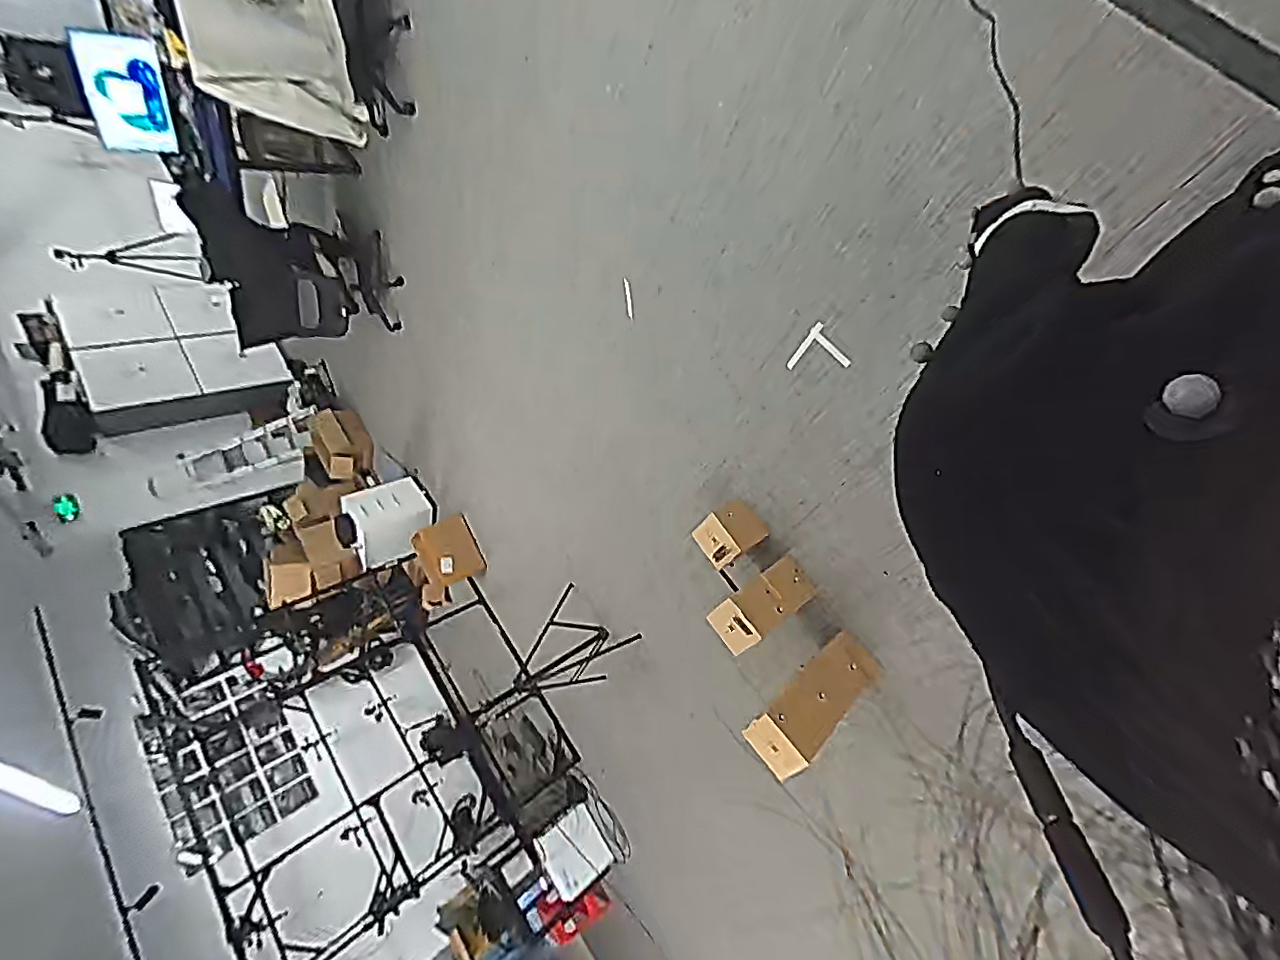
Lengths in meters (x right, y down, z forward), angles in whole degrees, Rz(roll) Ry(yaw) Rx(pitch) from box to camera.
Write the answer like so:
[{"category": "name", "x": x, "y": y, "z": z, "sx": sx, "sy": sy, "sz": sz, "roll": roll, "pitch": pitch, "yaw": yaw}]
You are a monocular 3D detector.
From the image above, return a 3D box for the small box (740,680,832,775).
[{"category": "small box", "x": 0.446, "y": 0.748, "z": 1.641, "sx": 0.179, "sy": 0.176, "sz": 0.168, "roll": 47, "pitch": 137, "yaw": 22}]

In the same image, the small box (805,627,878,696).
[{"category": "small box", "x": 0.673, "y": 0.640, "z": 1.848, "sx": 0.179, "sy": 0.176, "sz": 0.168, "roll": 46, "pitch": 136, "yaw": 22}]

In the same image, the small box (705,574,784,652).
[{"category": "small box", "x": 0.362, "y": 0.449, "z": 1.843, "sx": 0.168, "sy": 0.176, "sz": 0.179, "roll": 52, "pitch": 140, "yaw": 17}]

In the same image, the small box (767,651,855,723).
[{"category": "small box", "x": 0.555, "y": 0.690, "z": 1.747, "sx": 0.179, "sy": 0.176, "sz": 0.168, "roll": 48, "pitch": 136, "yaw": 22}]
